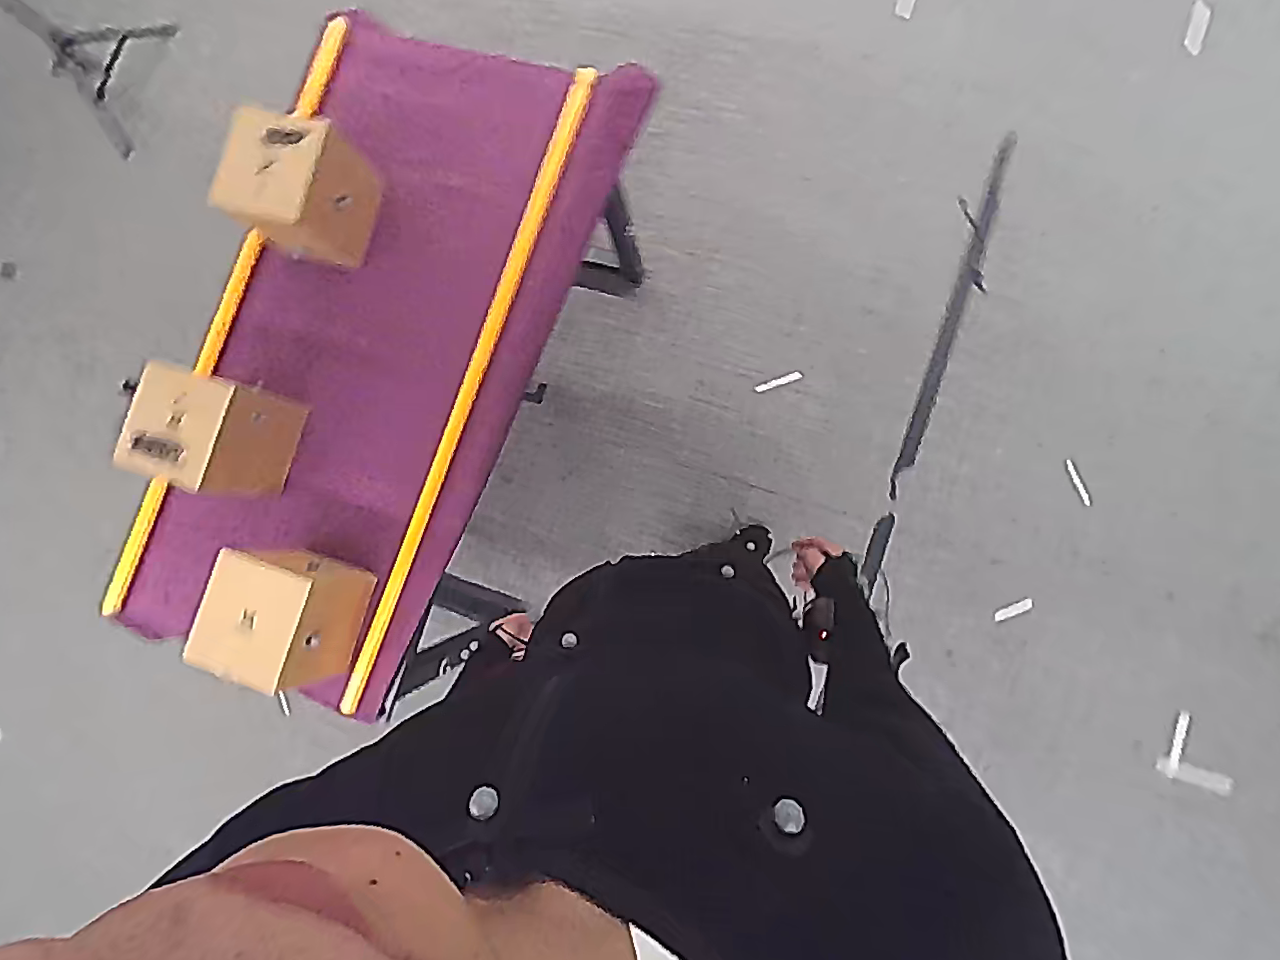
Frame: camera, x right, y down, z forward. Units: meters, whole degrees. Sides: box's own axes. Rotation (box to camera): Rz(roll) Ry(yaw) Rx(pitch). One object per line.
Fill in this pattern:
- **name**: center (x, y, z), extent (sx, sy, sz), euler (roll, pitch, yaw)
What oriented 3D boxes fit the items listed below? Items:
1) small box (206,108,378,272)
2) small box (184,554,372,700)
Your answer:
- **small box**: center (-0.592, -0.496, 0.945), extent (0.168, 0.176, 0.179), euler (15, 89, 8)
- **small box**: center (-0.575, 0.225, 0.883), extent (0.168, 0.176, 0.179), euler (16, 87, 9)
